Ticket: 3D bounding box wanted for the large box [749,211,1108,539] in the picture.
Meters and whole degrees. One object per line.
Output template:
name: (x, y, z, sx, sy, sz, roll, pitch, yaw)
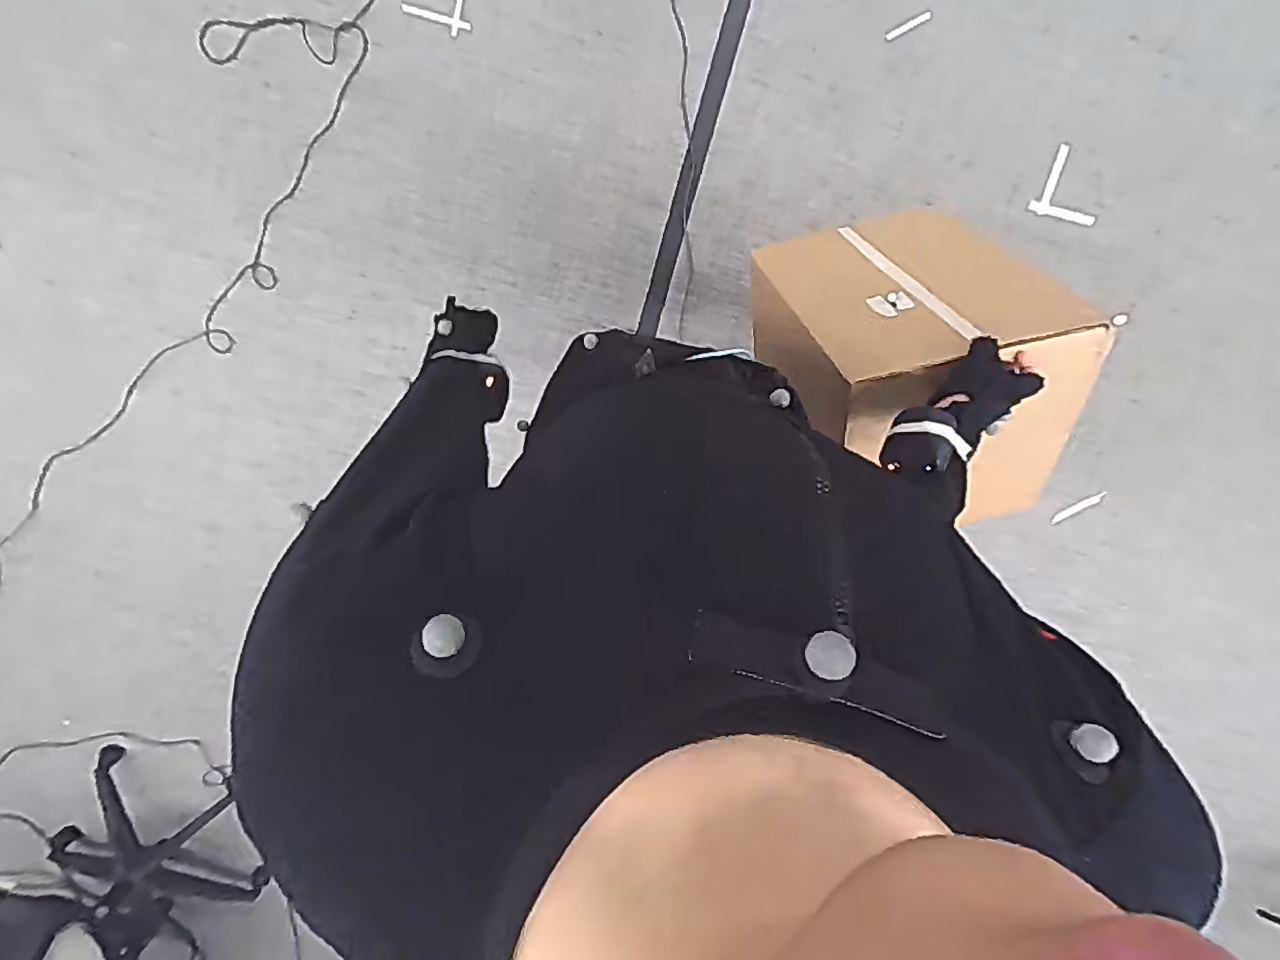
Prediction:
large box: (0.384, -0.176, 0.866, 0.320, 0.408, 0.320, -14, 135, 1)
